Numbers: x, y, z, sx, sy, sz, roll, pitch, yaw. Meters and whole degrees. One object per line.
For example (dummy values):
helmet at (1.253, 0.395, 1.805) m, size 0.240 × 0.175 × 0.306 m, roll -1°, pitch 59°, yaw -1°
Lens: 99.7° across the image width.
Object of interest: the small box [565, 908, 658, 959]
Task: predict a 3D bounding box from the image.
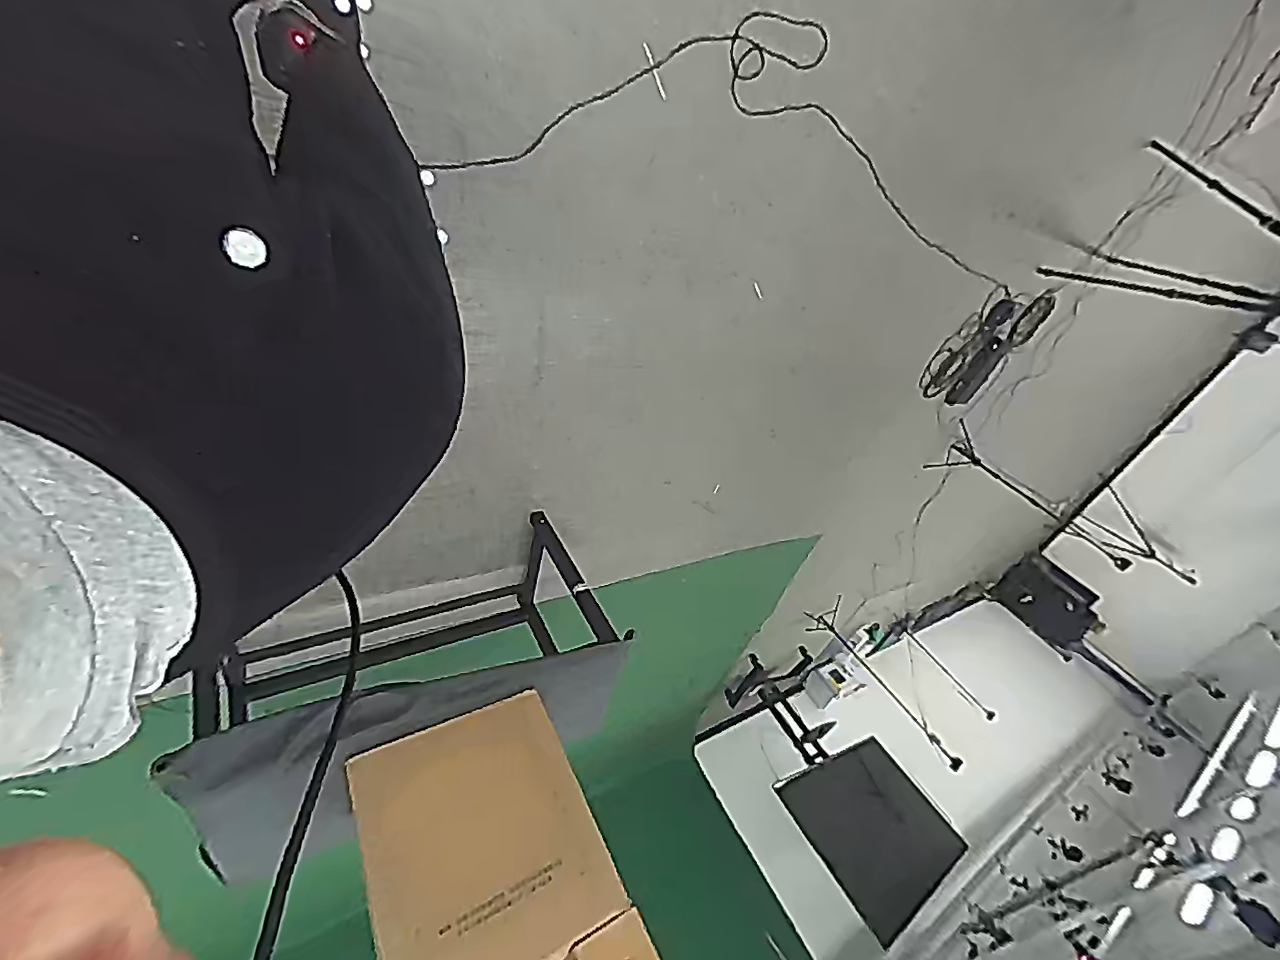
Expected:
small box at (-0.062, 1.171, 1.283) m, size 0.179 × 0.176 × 0.168 m, roll -8°, pitch 132°, yaw -37°
